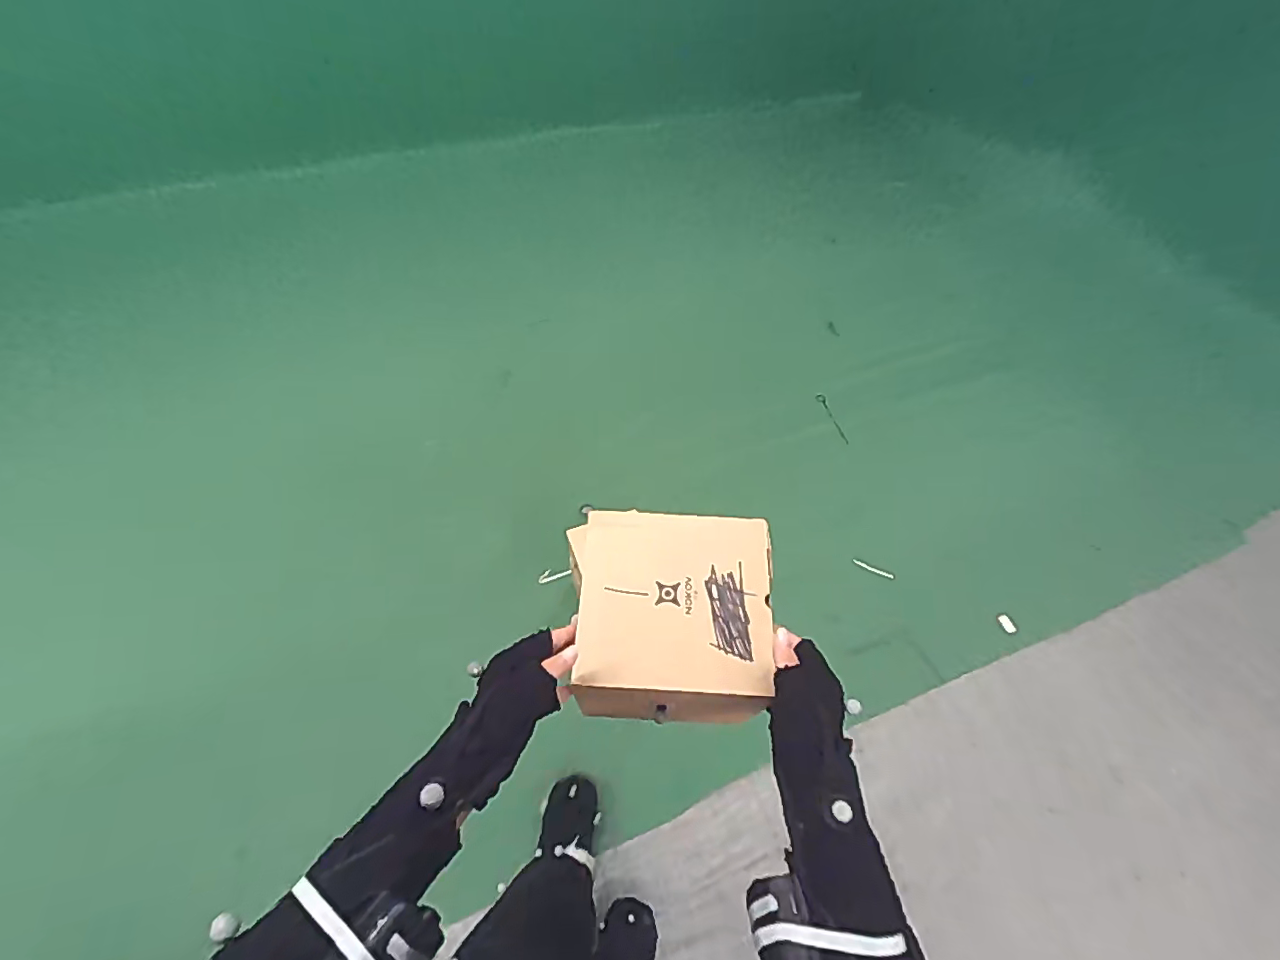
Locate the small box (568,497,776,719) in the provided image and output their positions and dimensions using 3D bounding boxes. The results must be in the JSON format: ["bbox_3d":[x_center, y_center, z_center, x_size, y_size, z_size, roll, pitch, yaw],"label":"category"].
[{"bbox_3d":[0.031,0.138,0.554,0.179,0.176,0.168,6,56,1],"label":"small box"}]

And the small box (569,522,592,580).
[{"bbox_3d":[-0.058,0.199,1.290,0.179,0.176,0.168,-17,59,-13],"label":"small box"}]
